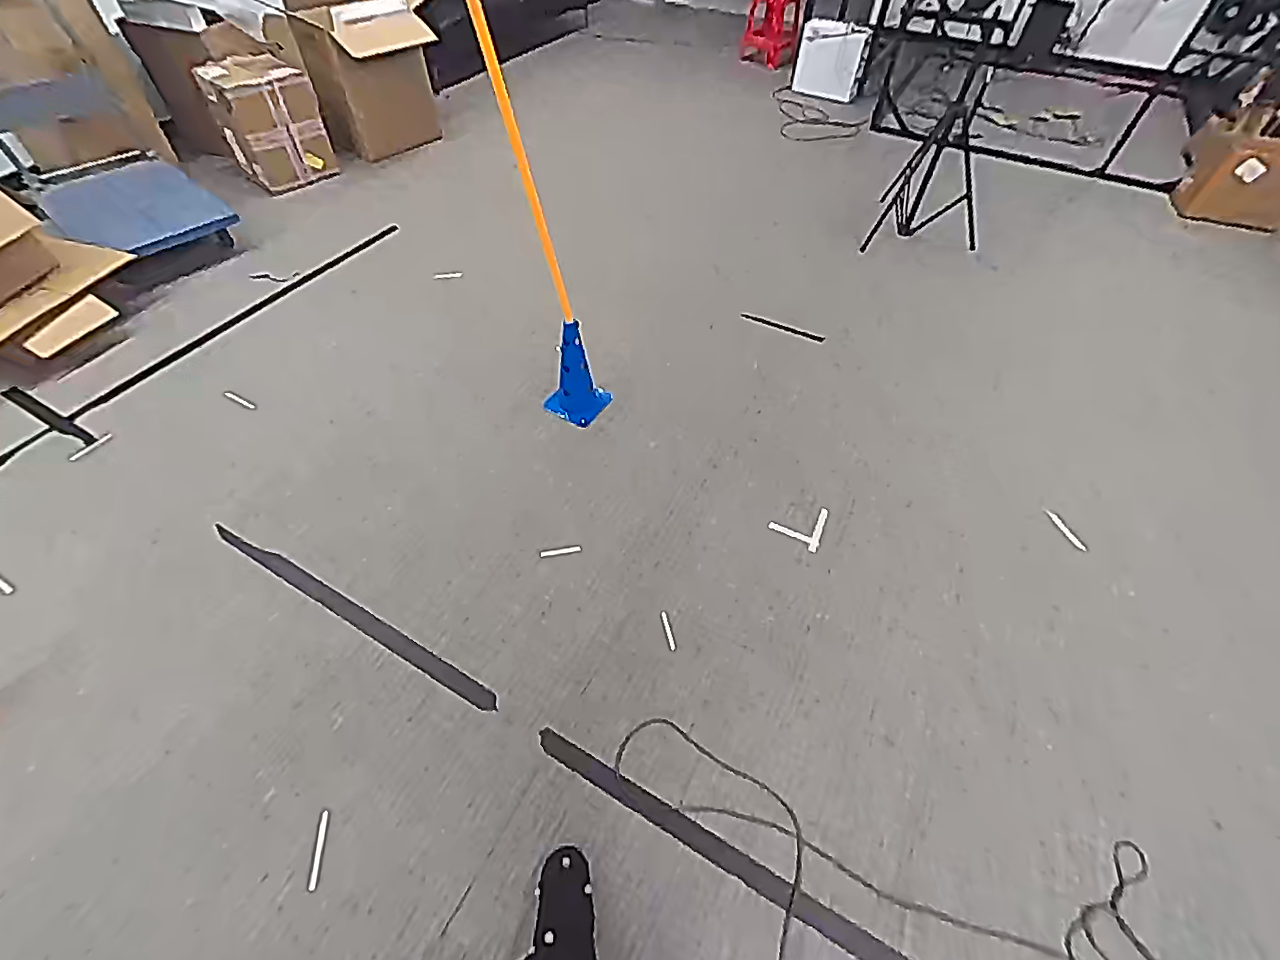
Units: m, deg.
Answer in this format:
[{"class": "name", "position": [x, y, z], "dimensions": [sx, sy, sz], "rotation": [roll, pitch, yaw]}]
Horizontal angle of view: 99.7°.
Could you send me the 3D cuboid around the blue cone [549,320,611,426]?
[{"class": "blue cone", "position": [-0.218, -0.388, 1.865], "dimensions": [0.192, 0.380, 0.193], "rotation": [27, 56, 18]}]
